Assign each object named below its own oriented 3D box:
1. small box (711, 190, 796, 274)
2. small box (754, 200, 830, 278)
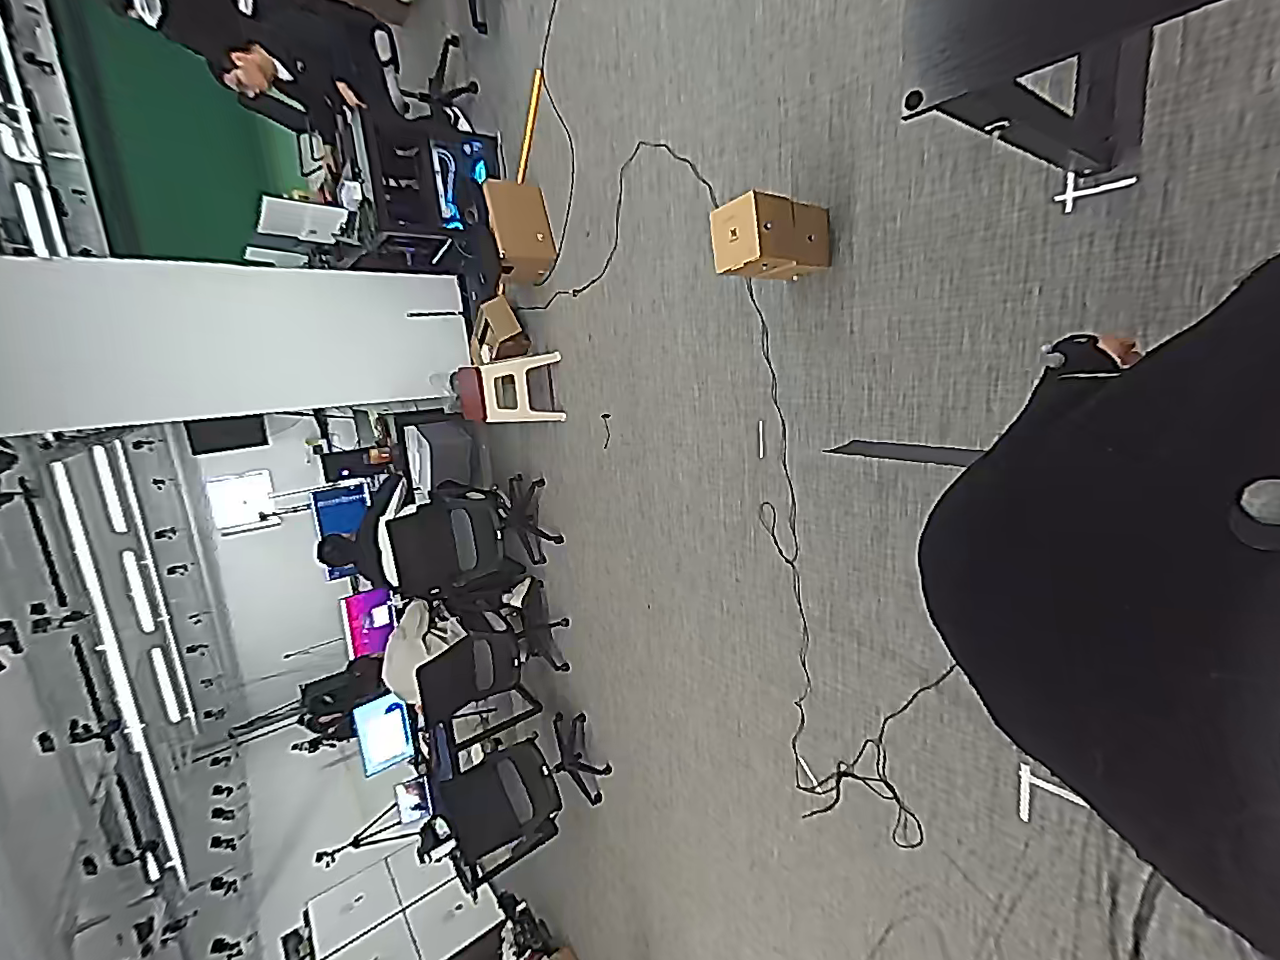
[{"bbox_3d":[0.326,-0.695,1.539,0.168,0.176,0.179,1,100,52],"label":"small box"},{"bbox_3d":[0.455,-0.719,1.634,0.168,0.176,0.179,6,106,53],"label":"small box"}]
